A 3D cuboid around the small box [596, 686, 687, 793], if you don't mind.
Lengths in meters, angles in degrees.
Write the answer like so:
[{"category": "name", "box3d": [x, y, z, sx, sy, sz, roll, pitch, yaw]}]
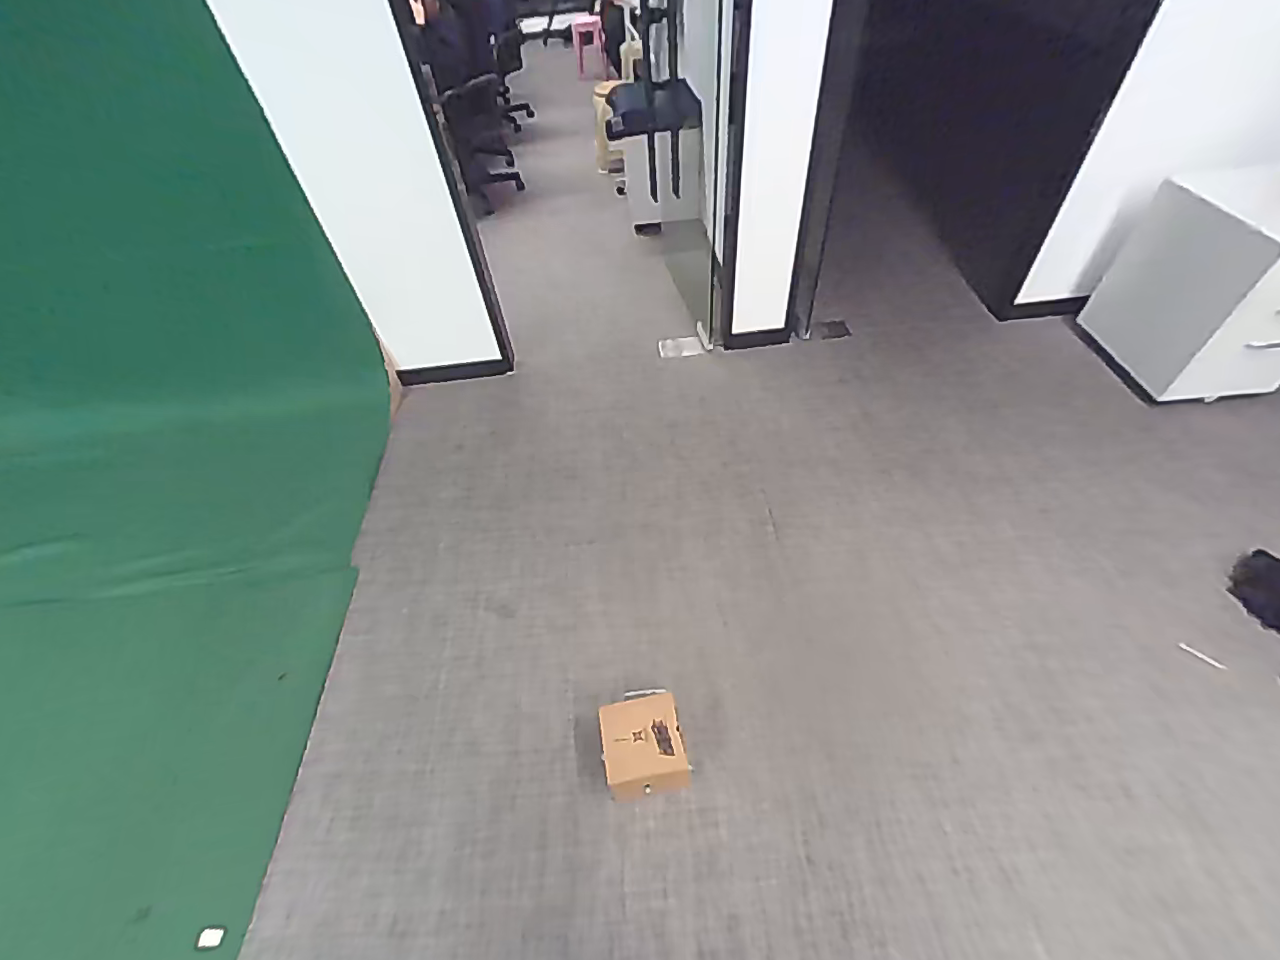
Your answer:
[{"category": "small box", "box3d": [0.003, 0.607, 1.263, 0.179, 0.176, 0.168, -12, 50, -6]}]
